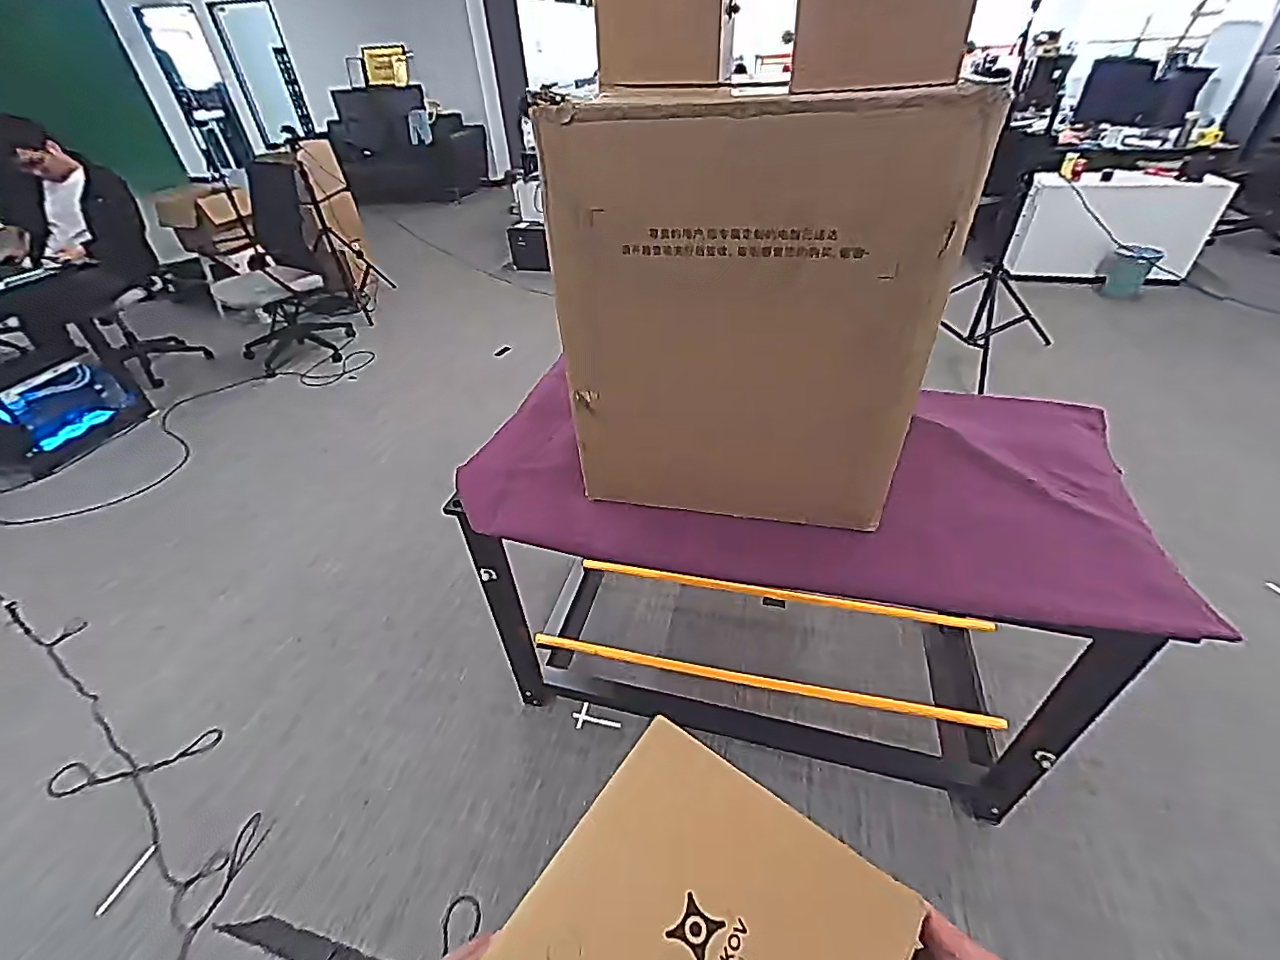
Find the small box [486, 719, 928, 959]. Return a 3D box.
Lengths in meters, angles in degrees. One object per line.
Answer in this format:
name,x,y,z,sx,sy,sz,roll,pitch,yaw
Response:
small box,0.039,0.296,0.331,0.179,0.176,0.168,25,48,29
